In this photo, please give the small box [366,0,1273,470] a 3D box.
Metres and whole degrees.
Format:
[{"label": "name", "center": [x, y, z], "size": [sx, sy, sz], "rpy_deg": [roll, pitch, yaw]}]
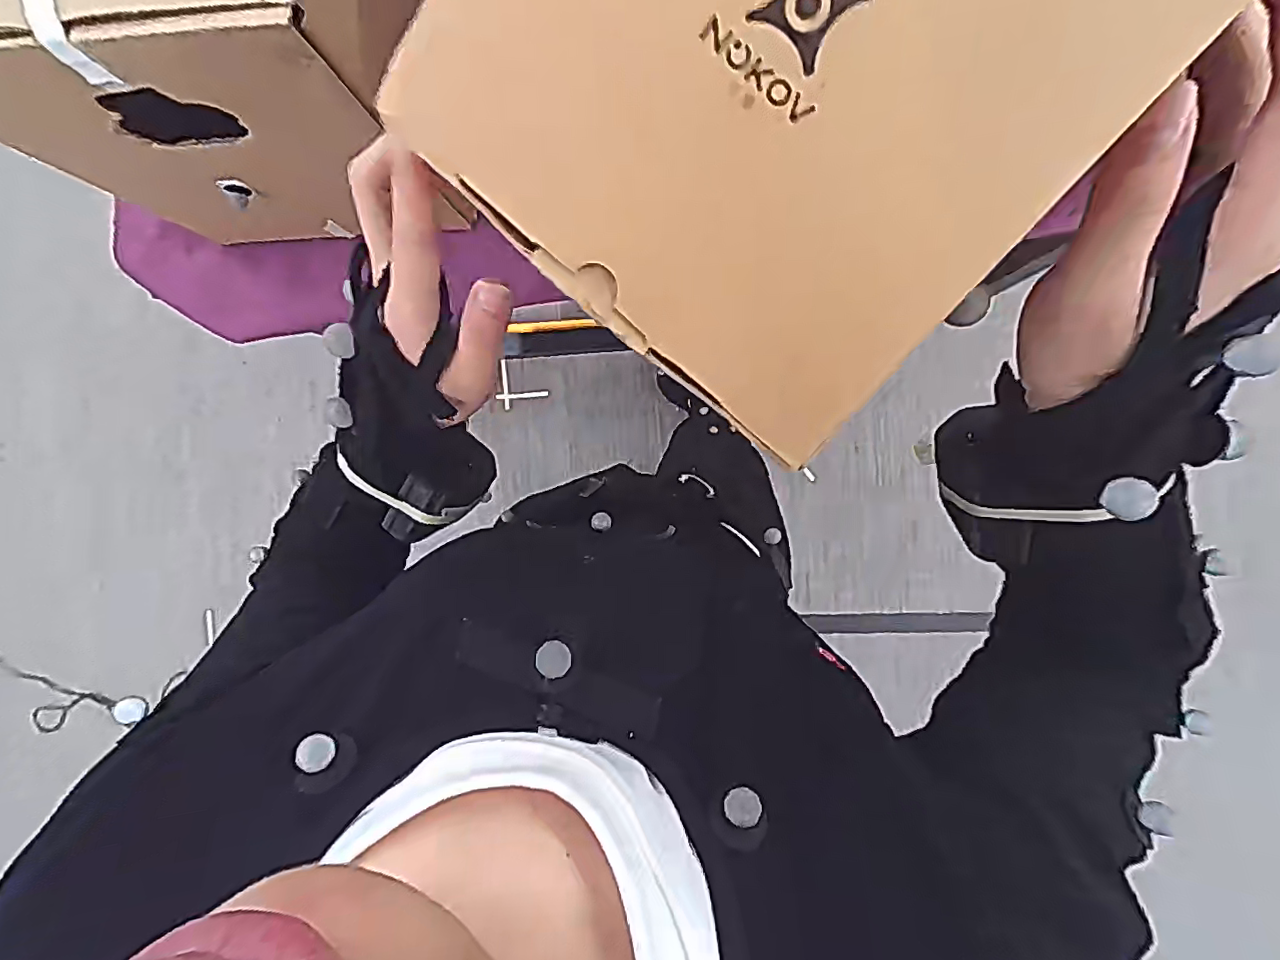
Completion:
[{"label": "small box", "center": [0.049, -0.135, 0.205], "size": [0.168, 0.176, 0.179], "rpy_deg": [40, 105, -4]}]
